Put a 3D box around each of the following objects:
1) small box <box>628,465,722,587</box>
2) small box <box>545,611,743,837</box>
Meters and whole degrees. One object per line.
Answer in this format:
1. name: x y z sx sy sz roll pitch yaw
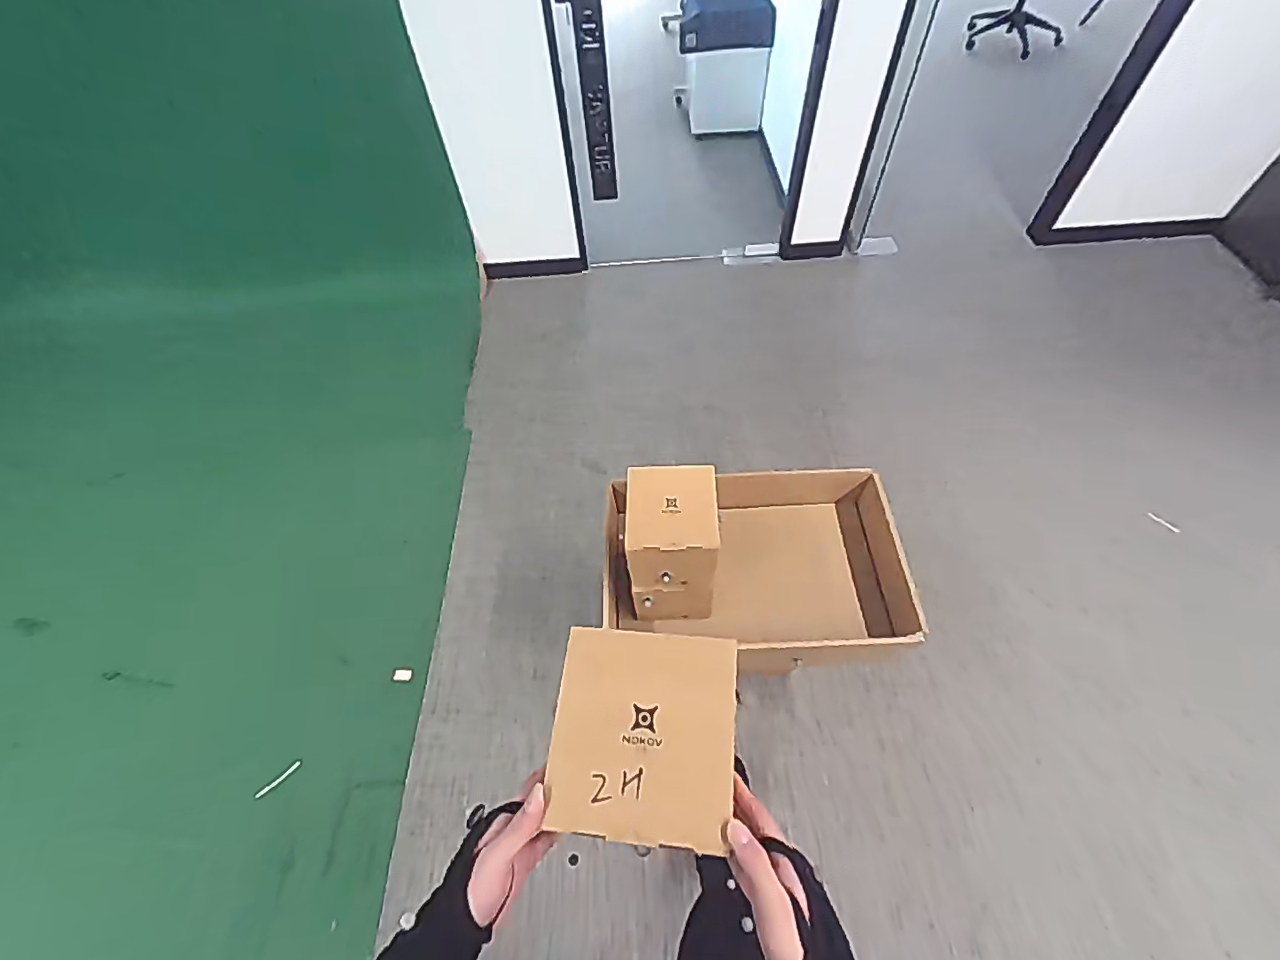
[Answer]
1. small box: 0.065 0.090 1.037 0.168 0.176 0.179 -1 55 3
2. small box: 0.016 0.252 0.562 0.168 0.176 0.179 3 60 9
